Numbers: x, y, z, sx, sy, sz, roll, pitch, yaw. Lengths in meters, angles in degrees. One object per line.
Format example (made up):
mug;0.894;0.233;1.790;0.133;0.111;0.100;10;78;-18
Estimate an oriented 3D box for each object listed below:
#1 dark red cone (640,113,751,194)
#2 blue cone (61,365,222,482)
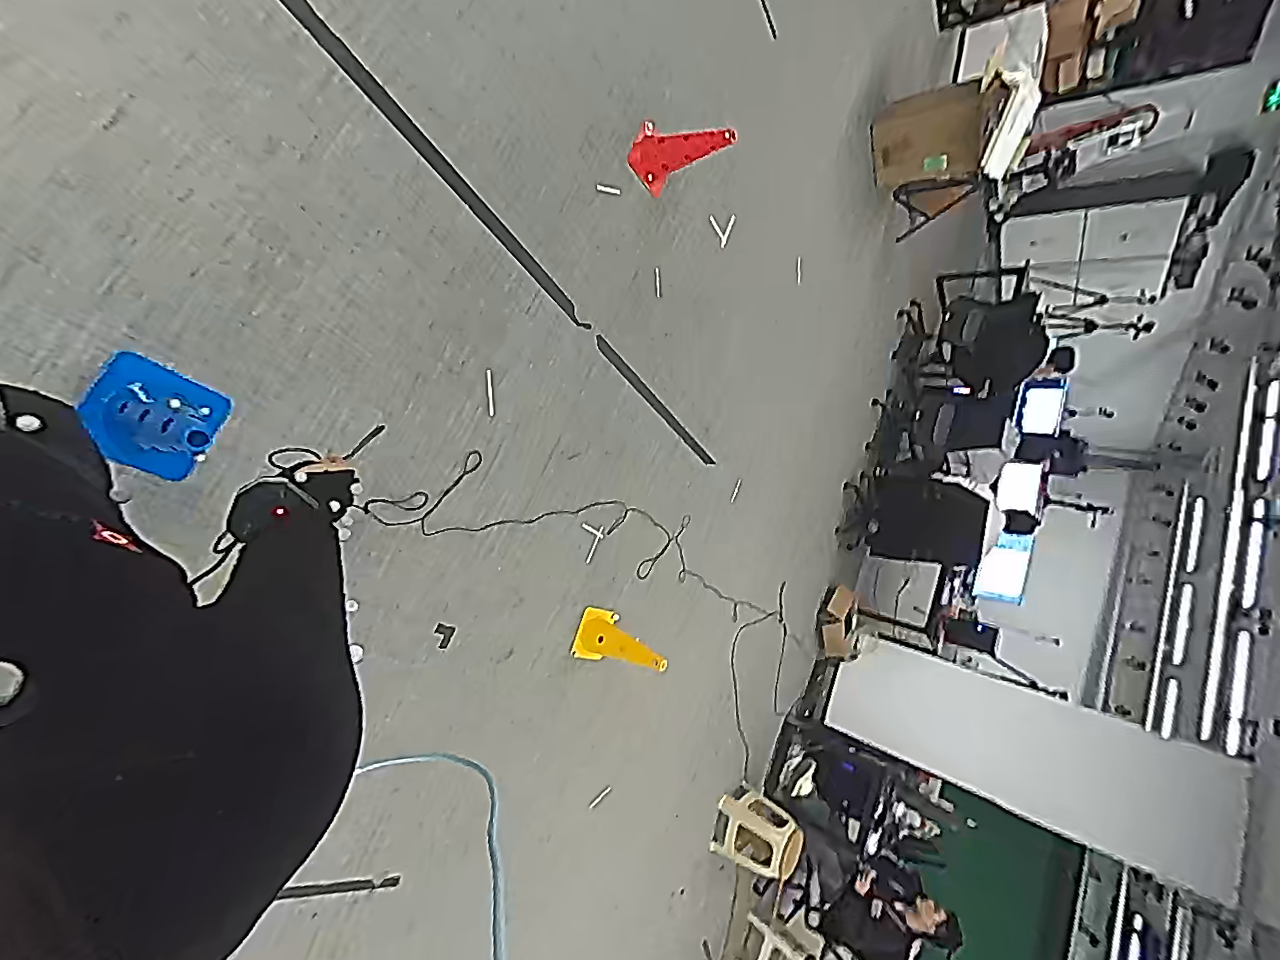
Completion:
dark red cone;0.202;-1.161;1.874;0.202;0.394;0.201;29;78;-51
blue cone;-0.819;-0.077;0.935;0.193;0.380;0.192;41;69;-48
